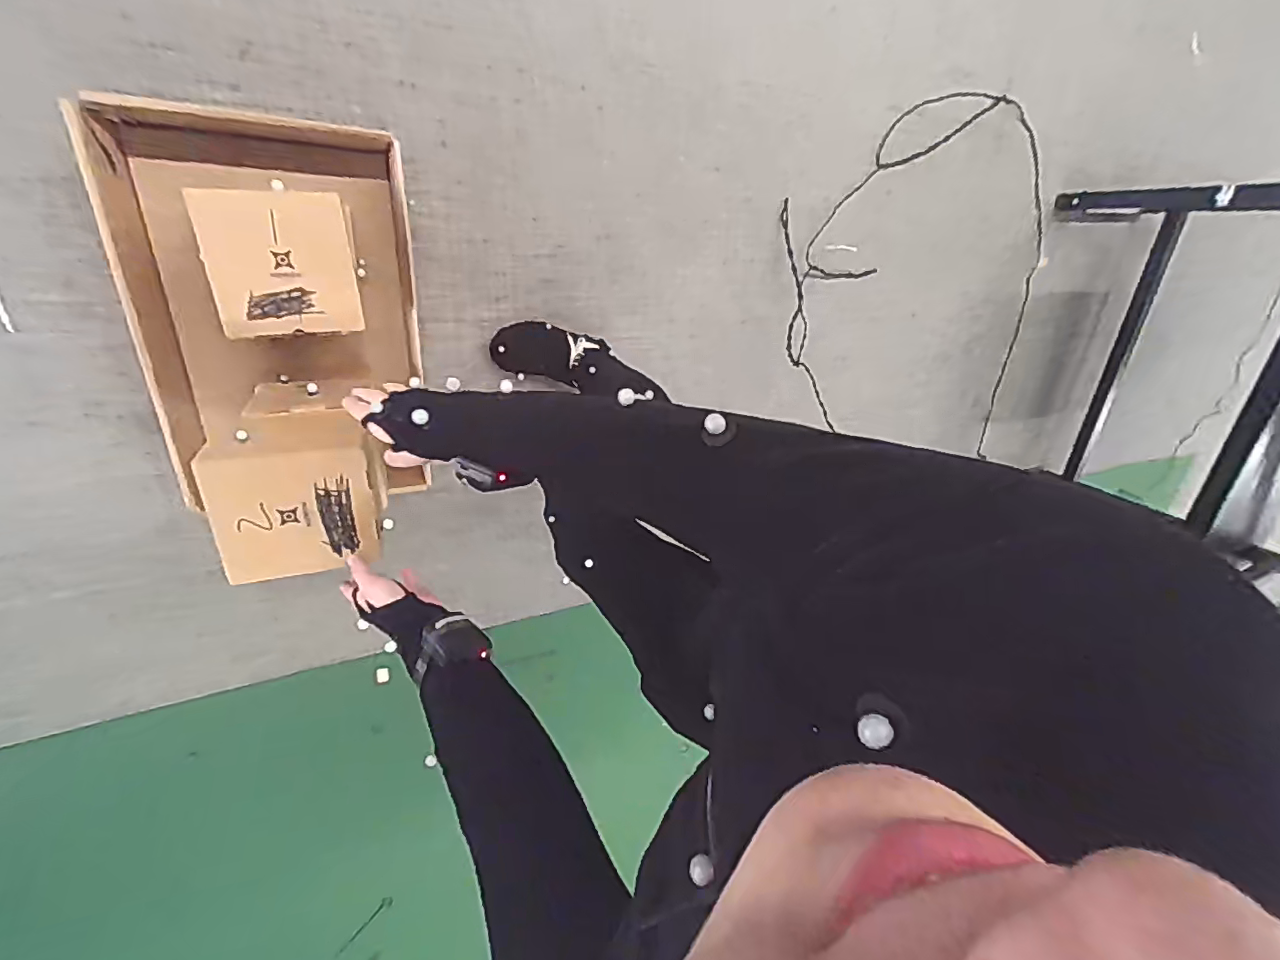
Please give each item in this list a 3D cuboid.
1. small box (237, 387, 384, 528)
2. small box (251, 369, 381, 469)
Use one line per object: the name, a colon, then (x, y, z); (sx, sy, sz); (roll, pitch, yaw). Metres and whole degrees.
small box: (-0.510, -0.047, 0.857); (0.168, 0.176, 0.179); (-8, 115, -24)
small box: (-0.585, -0.107, 0.992); (0.179, 0.176, 0.168); (-7, 115, -25)
